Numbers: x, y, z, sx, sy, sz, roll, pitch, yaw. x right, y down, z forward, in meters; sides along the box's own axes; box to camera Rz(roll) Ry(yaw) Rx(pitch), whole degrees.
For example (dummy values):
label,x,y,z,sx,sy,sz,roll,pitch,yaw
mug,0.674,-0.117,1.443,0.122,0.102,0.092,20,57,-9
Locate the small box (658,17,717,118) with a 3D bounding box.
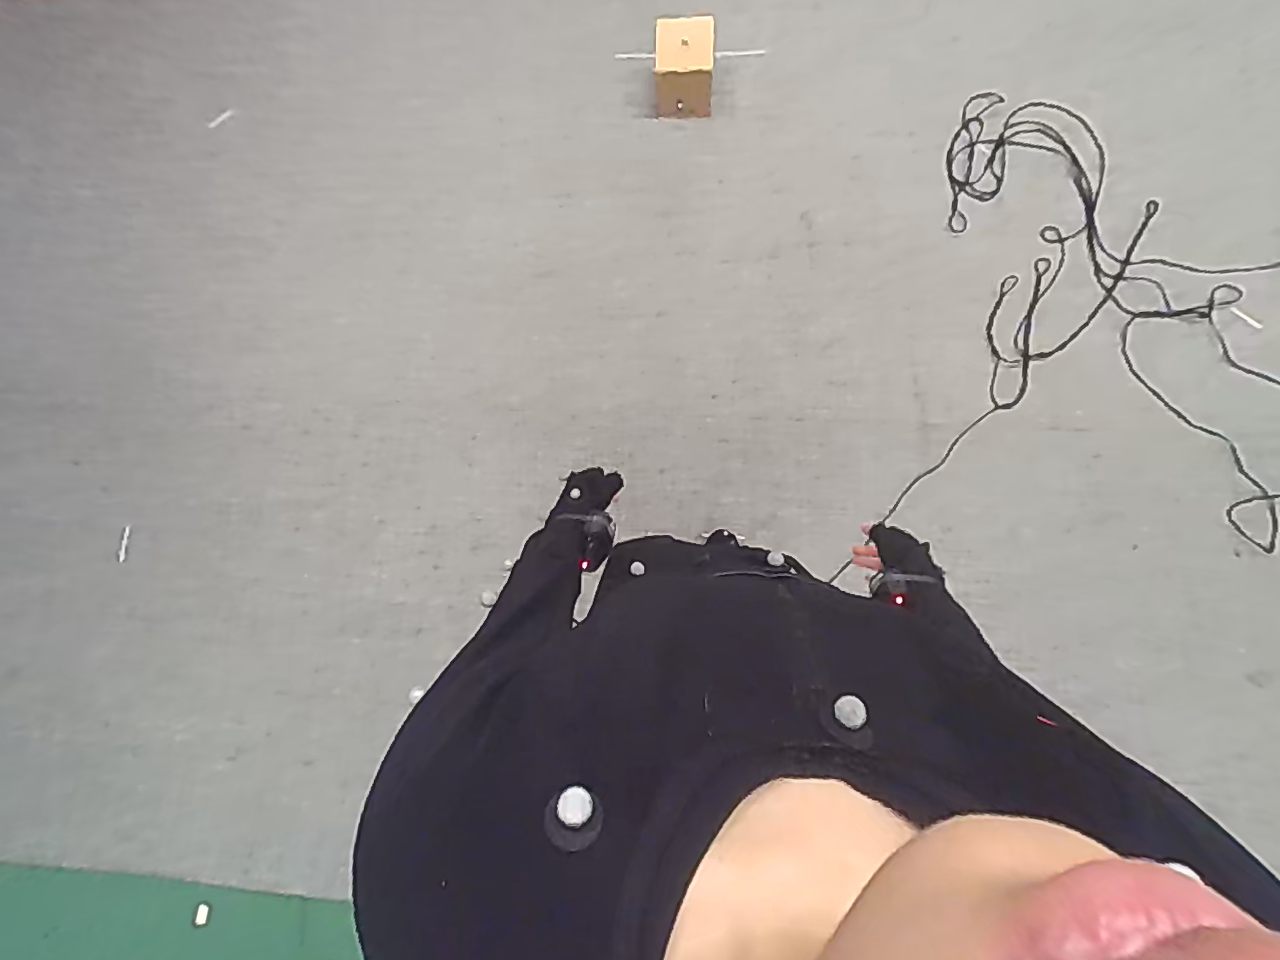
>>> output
label,x,y,z,sx,sy,sz,roll,pitch,yaw
small box,0.139,-1.224,1.612,0.168,0.176,0.179,1,82,5
